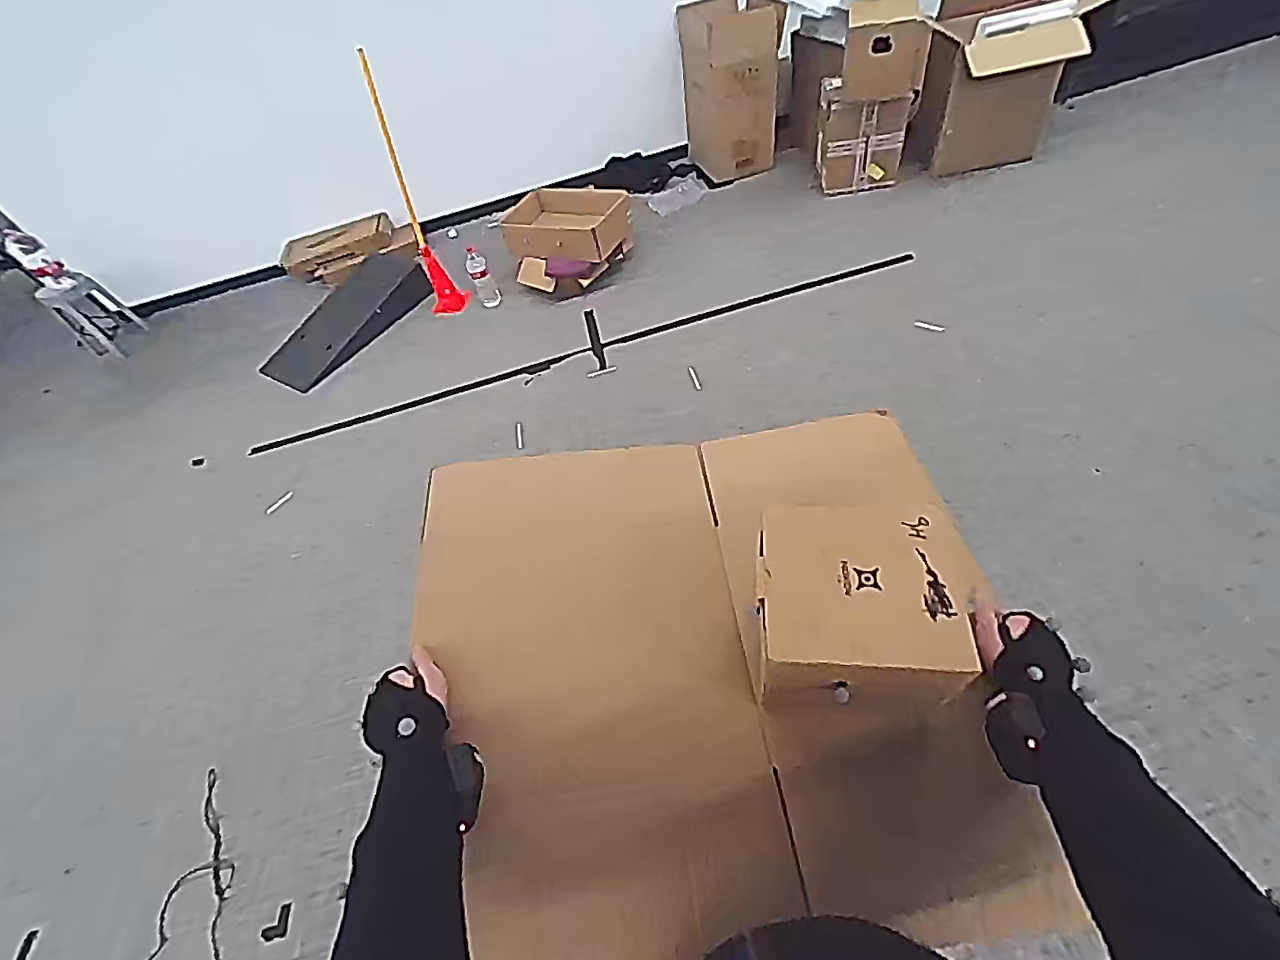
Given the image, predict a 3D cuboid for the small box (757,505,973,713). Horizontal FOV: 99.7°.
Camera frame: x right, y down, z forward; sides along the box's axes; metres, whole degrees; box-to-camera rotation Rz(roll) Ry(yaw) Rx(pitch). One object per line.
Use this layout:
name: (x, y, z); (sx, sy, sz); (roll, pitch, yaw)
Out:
small box: (0.218, 0.140, 0.577); (0.179, 0.176, 0.168); (-1, 54, 12)
